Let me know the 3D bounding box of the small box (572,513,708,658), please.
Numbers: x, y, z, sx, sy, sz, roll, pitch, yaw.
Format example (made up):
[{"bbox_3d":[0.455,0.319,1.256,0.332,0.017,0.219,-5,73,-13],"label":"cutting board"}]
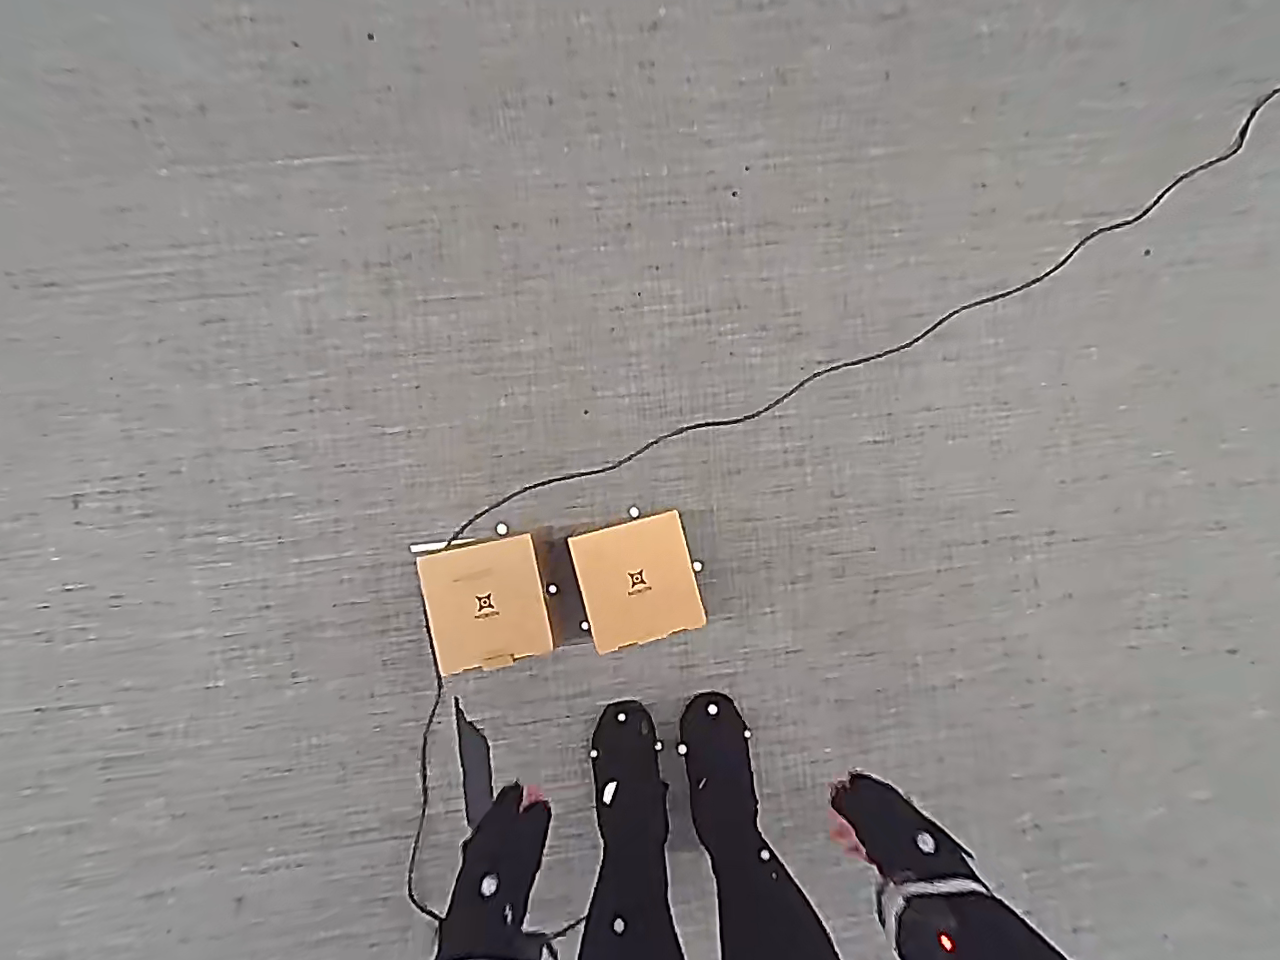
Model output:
[{"bbox_3d":[-0.006,0.154,0.856,0.168,0.176,0.179,-15,91,-3],"label":"small box"}]

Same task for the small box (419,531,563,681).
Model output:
[{"bbox_3d":[-0.220,0.186,0.845,0.168,0.176,0.179,-11,89,-3],"label":"small box"}]
